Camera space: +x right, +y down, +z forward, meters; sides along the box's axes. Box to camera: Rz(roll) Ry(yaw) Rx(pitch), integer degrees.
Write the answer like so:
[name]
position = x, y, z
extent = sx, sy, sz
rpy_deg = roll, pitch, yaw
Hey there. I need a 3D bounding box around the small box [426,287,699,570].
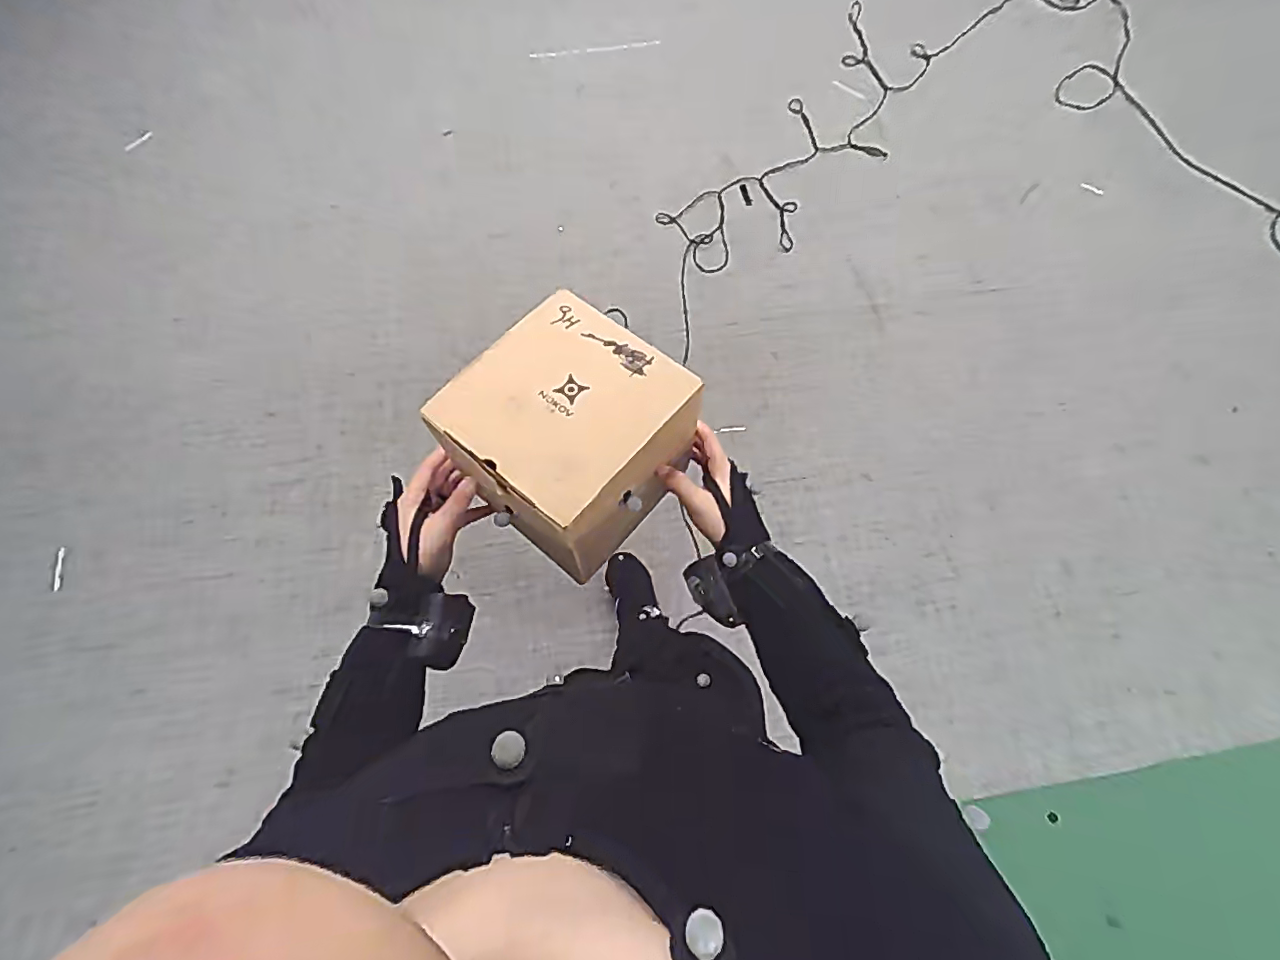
[small box]
position = -0.062, -0.039, 0.525
extent = 0.168, 0.176, 0.179
rpy_deg = 37, 71, 16
